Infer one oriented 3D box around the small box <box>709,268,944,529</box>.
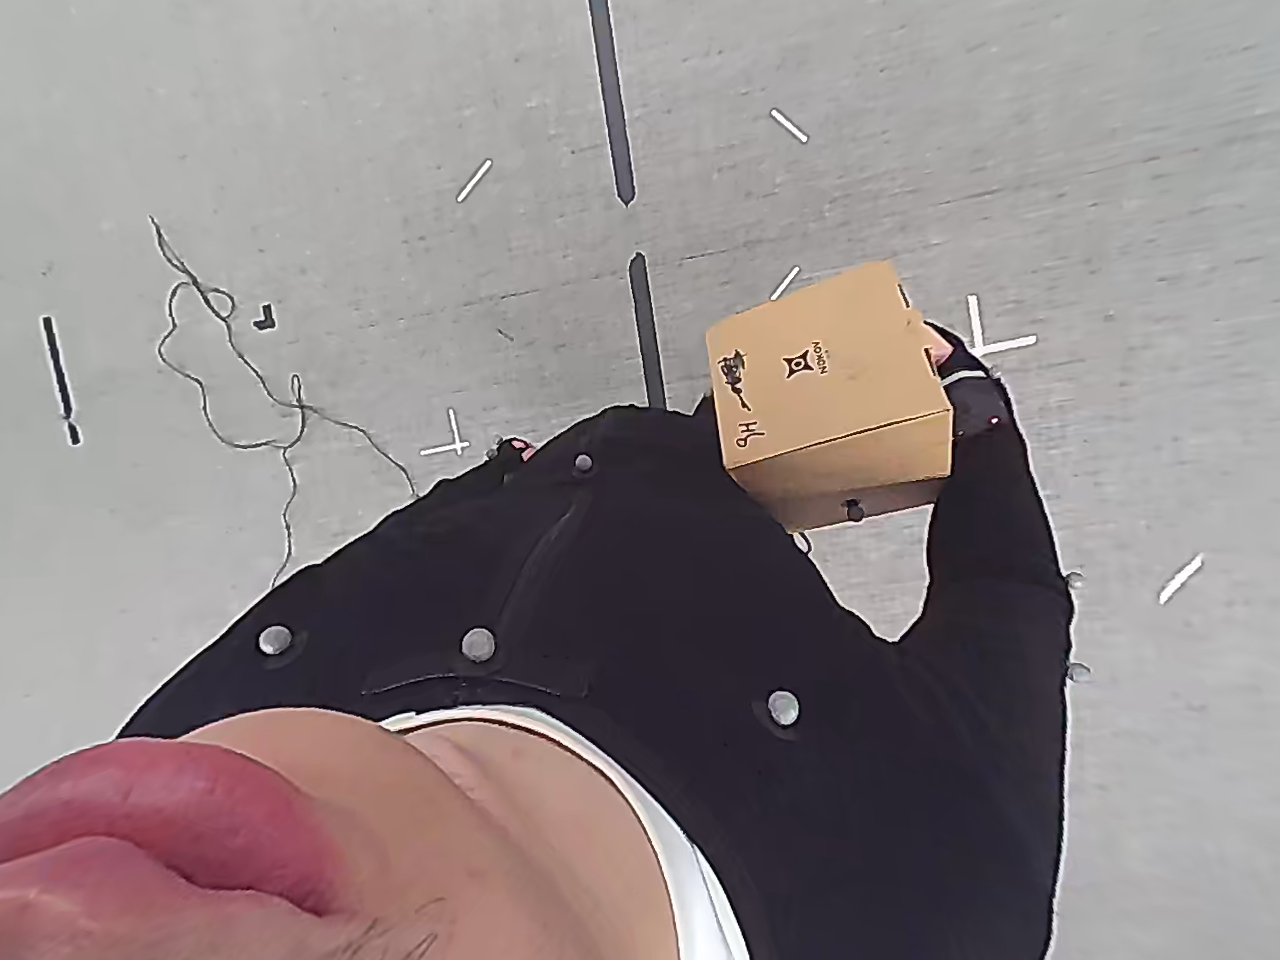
[{"bbox_3d":[0.184,-0.068,0.543,0.179,0.176,0.168,-16,57,21],"label":"small box"}]
